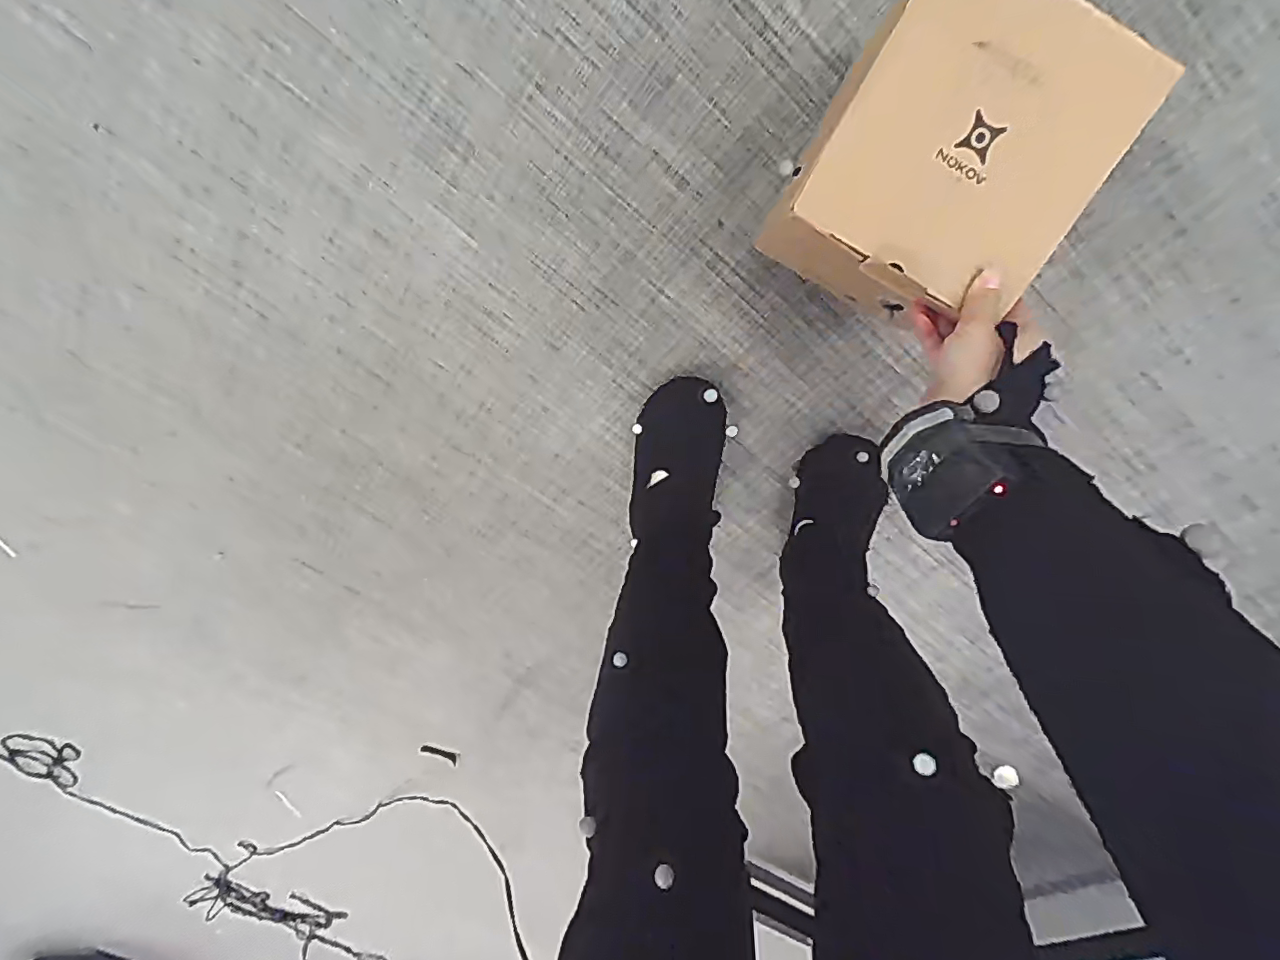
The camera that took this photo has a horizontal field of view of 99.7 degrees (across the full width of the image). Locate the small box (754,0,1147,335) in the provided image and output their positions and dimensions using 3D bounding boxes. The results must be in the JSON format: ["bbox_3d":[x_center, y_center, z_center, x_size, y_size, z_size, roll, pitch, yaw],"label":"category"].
[{"bbox_3d":[0.205,-0.230,0.422,0.168,0.176,0.179,28,105,-5],"label":"small box"}]
